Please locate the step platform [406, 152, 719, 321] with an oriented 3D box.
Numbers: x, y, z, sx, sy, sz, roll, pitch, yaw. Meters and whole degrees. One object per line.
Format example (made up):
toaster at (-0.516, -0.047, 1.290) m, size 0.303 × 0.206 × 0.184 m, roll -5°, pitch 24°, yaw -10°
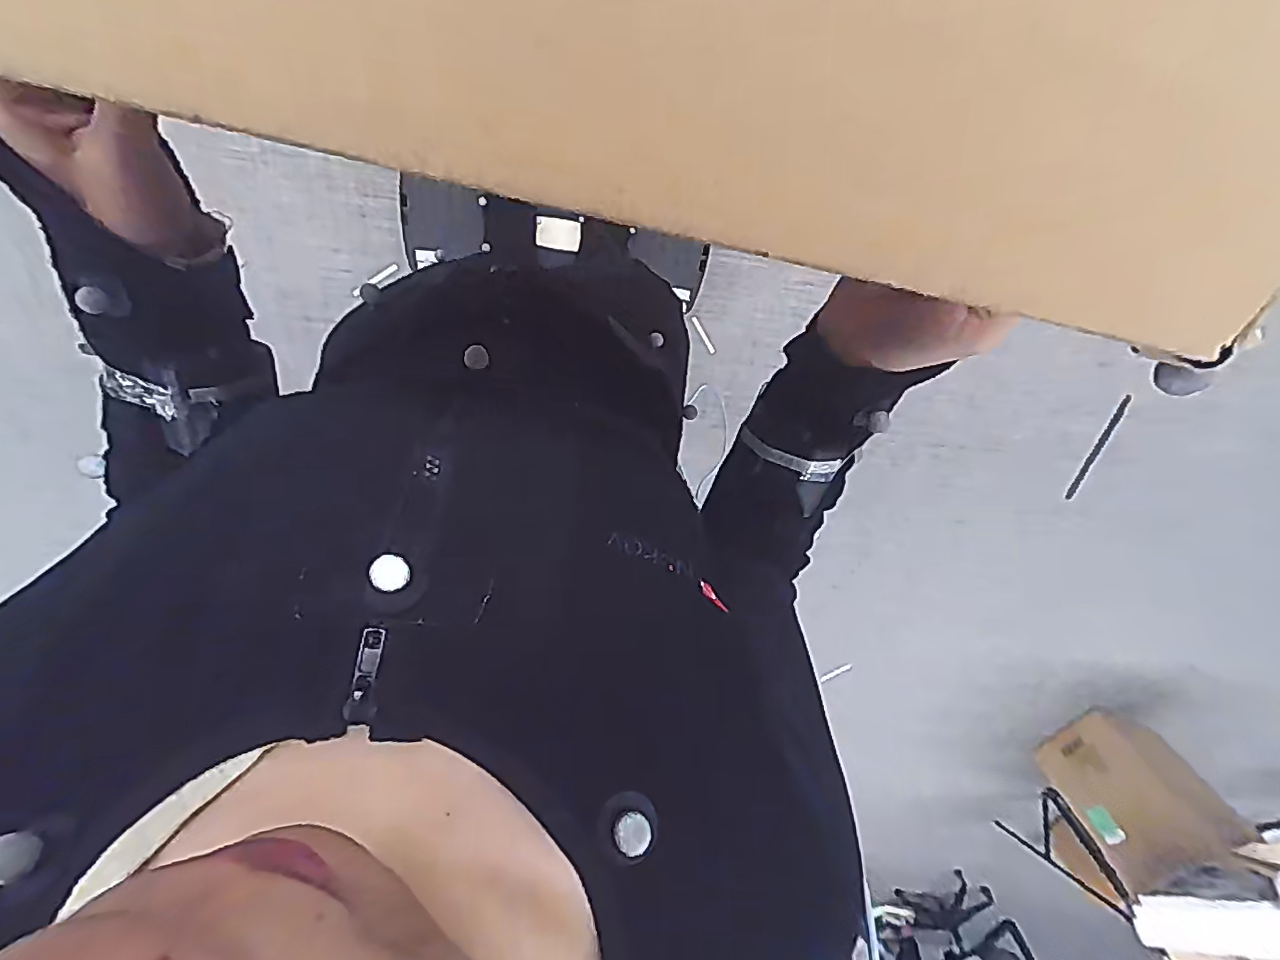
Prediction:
step platform at (-0.168, -0.584, 1.242) m, size 0.684 × 0.204 × 0.286 m, roll 9°, pitch 120°, yaw -11°
